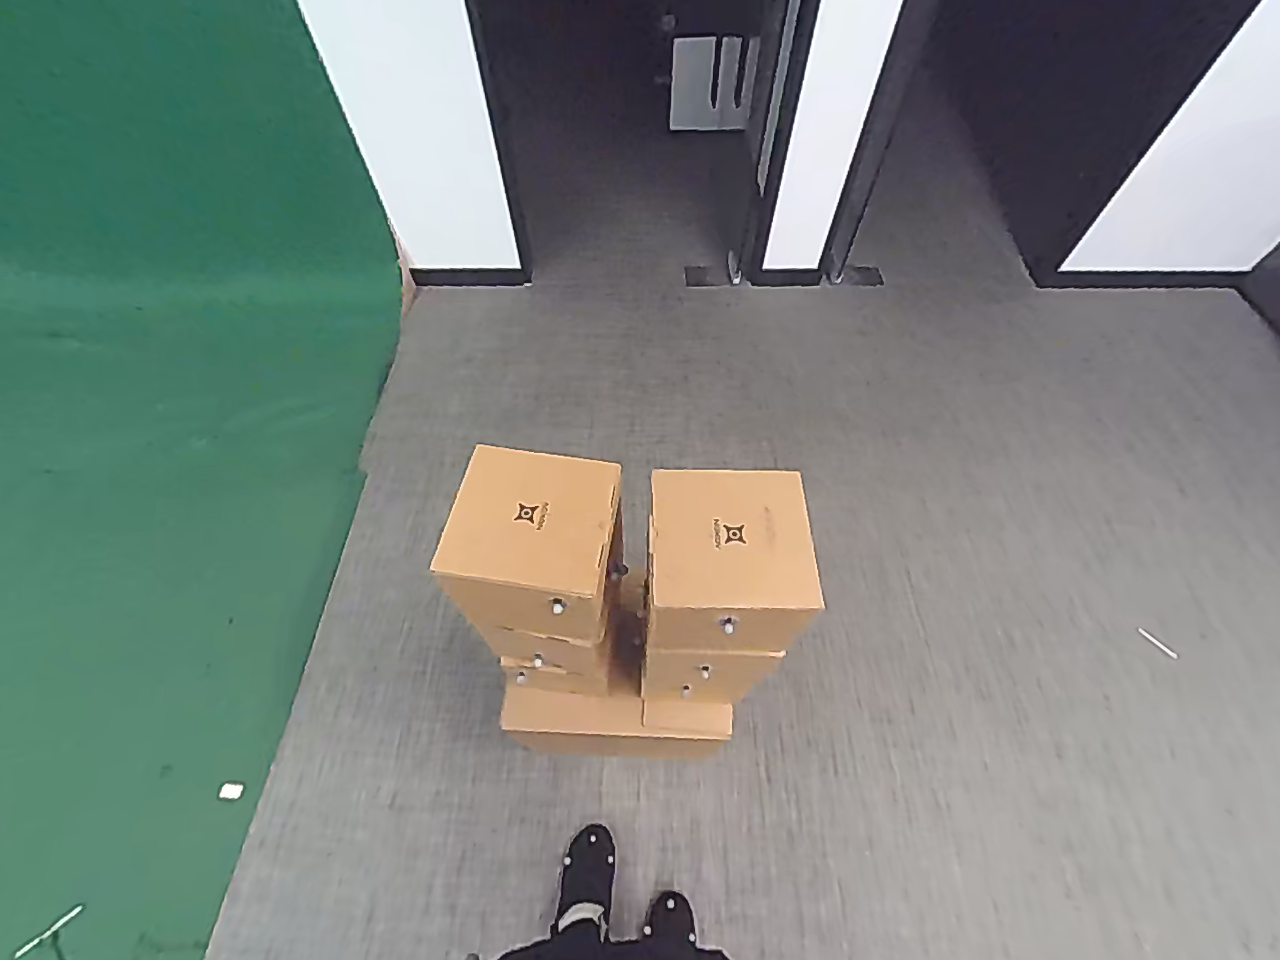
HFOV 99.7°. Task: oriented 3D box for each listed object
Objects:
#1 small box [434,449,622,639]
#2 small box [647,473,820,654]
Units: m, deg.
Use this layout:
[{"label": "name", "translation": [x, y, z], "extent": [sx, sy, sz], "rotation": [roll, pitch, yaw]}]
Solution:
[{"label": "small box", "translation": [-0.120, 0.085, 0.665], "extent": [0.179, 0.176, 0.168], "rotation": [8, 58, 3]}, {"label": "small box", "translation": [0.097, 0.106, 0.652], "extent": [0.179, 0.176, 0.168], "rotation": [1, 58, 0]}]
